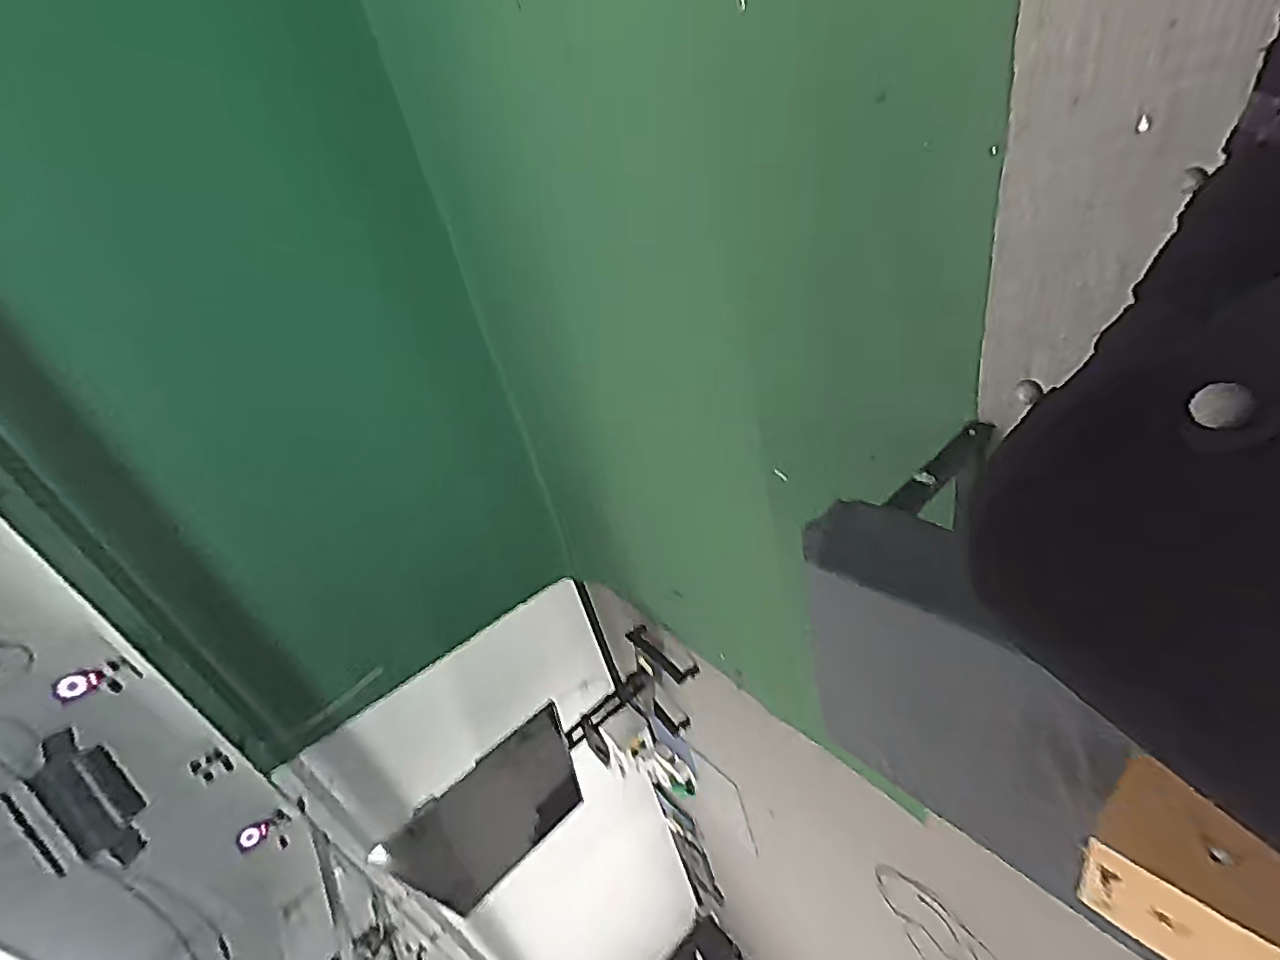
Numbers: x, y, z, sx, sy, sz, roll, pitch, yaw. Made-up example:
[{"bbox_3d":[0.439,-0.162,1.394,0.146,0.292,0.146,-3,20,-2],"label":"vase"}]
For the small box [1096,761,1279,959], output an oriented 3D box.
[{"bbox_3d":[0.728,0.509,0.695,0.179,0.176,0.168,17,134,53],"label":"small box"}]
